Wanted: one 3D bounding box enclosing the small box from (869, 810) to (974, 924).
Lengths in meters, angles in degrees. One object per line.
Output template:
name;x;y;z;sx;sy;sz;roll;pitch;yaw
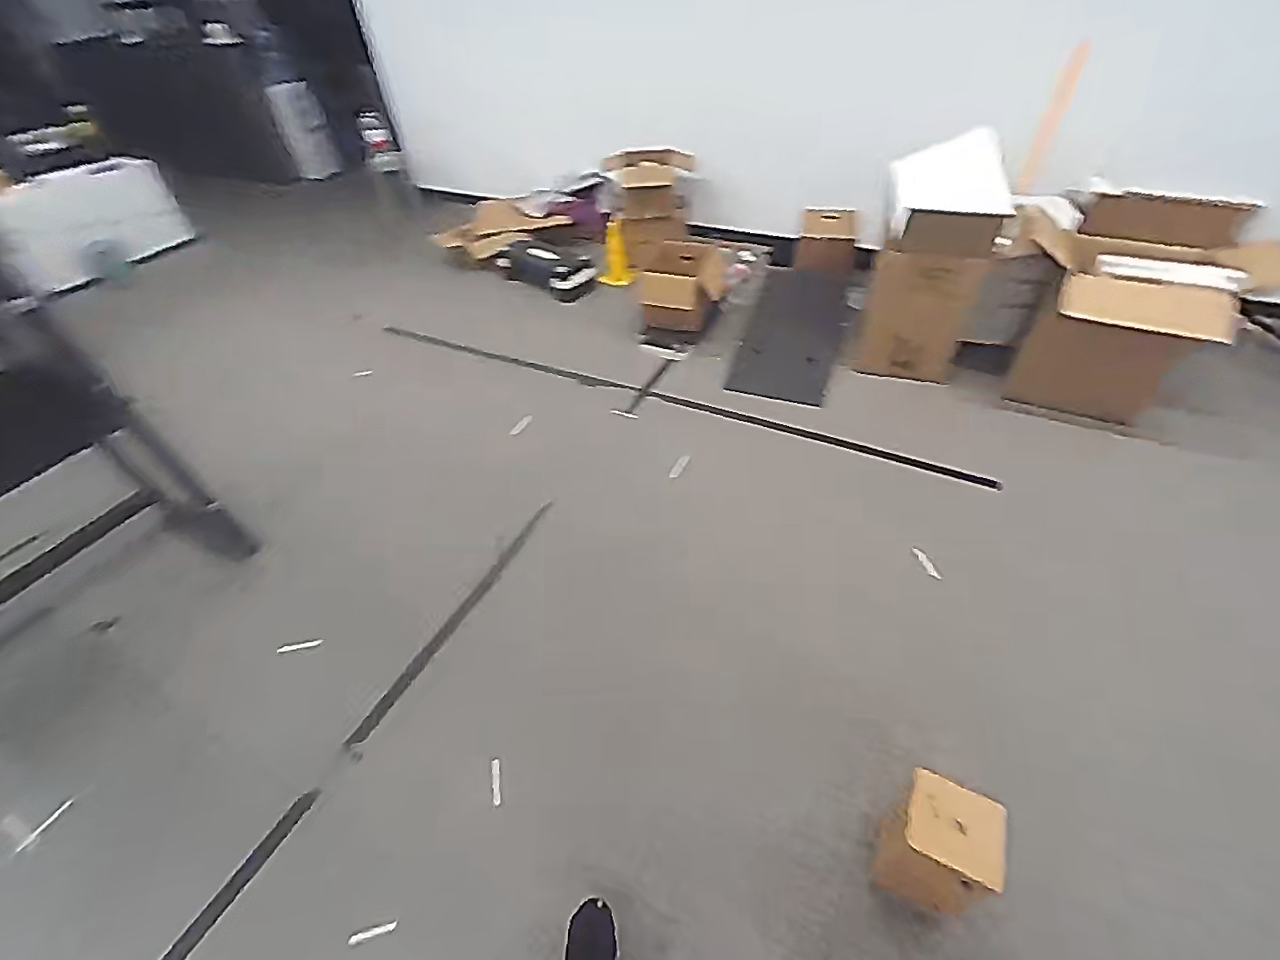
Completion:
small box;0.661;0.892;1.260;0.179;0.176;0.168;20;48;22

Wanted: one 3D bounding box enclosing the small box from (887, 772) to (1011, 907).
small box;0.654;0.769;1.152;0.179;0.176;0.168;19;48;22
